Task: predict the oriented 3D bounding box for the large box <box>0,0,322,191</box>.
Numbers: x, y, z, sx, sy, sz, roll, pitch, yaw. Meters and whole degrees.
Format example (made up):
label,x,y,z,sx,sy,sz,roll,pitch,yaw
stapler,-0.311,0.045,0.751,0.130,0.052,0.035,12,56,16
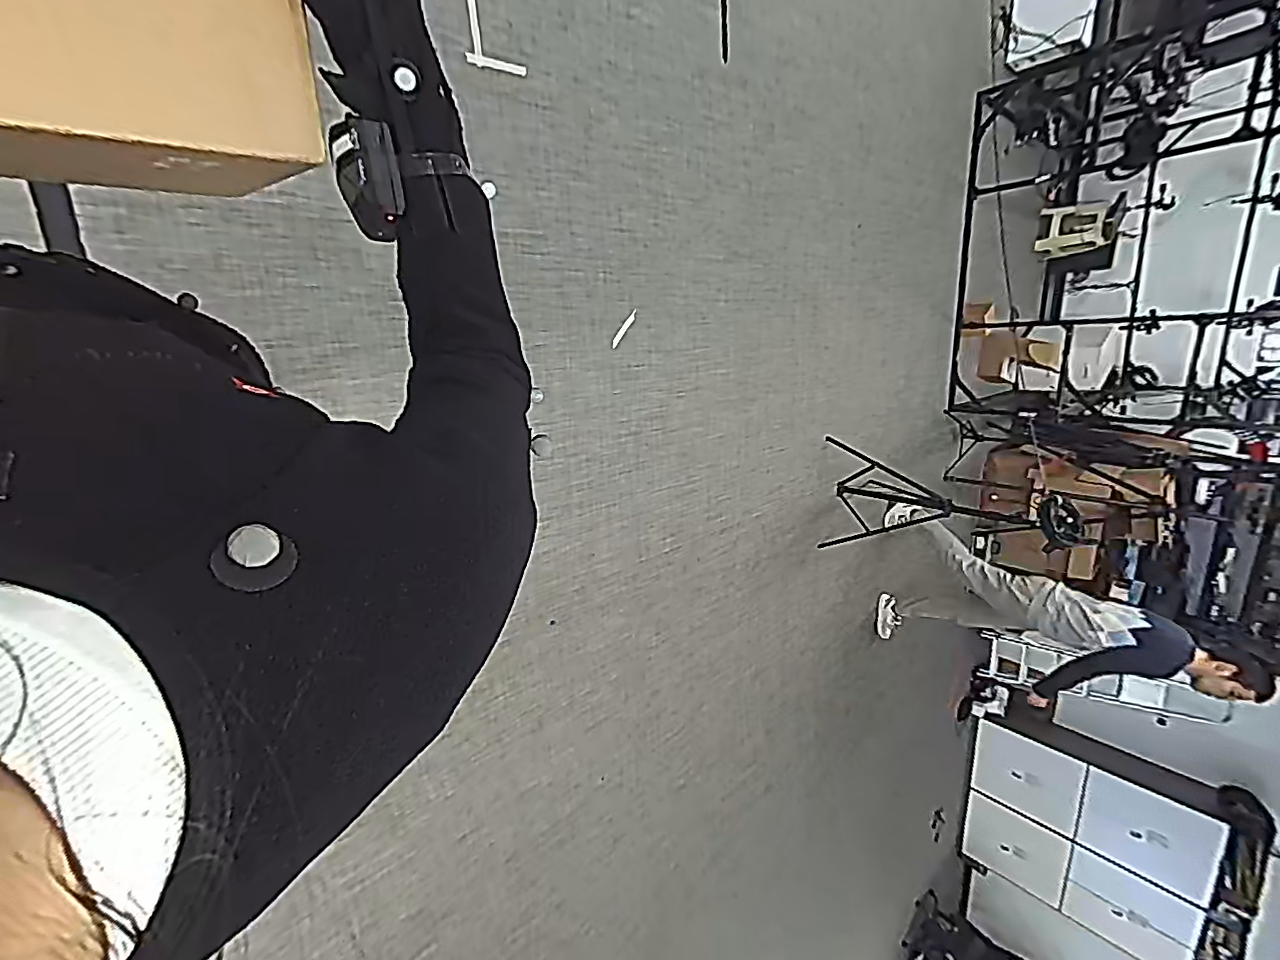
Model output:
label,x,y,z,sx,sy,sz,roll,pitch,yaw
large box,-0.462,-0.351,0.287,0.408,0.320,0.320,-19,120,-40
